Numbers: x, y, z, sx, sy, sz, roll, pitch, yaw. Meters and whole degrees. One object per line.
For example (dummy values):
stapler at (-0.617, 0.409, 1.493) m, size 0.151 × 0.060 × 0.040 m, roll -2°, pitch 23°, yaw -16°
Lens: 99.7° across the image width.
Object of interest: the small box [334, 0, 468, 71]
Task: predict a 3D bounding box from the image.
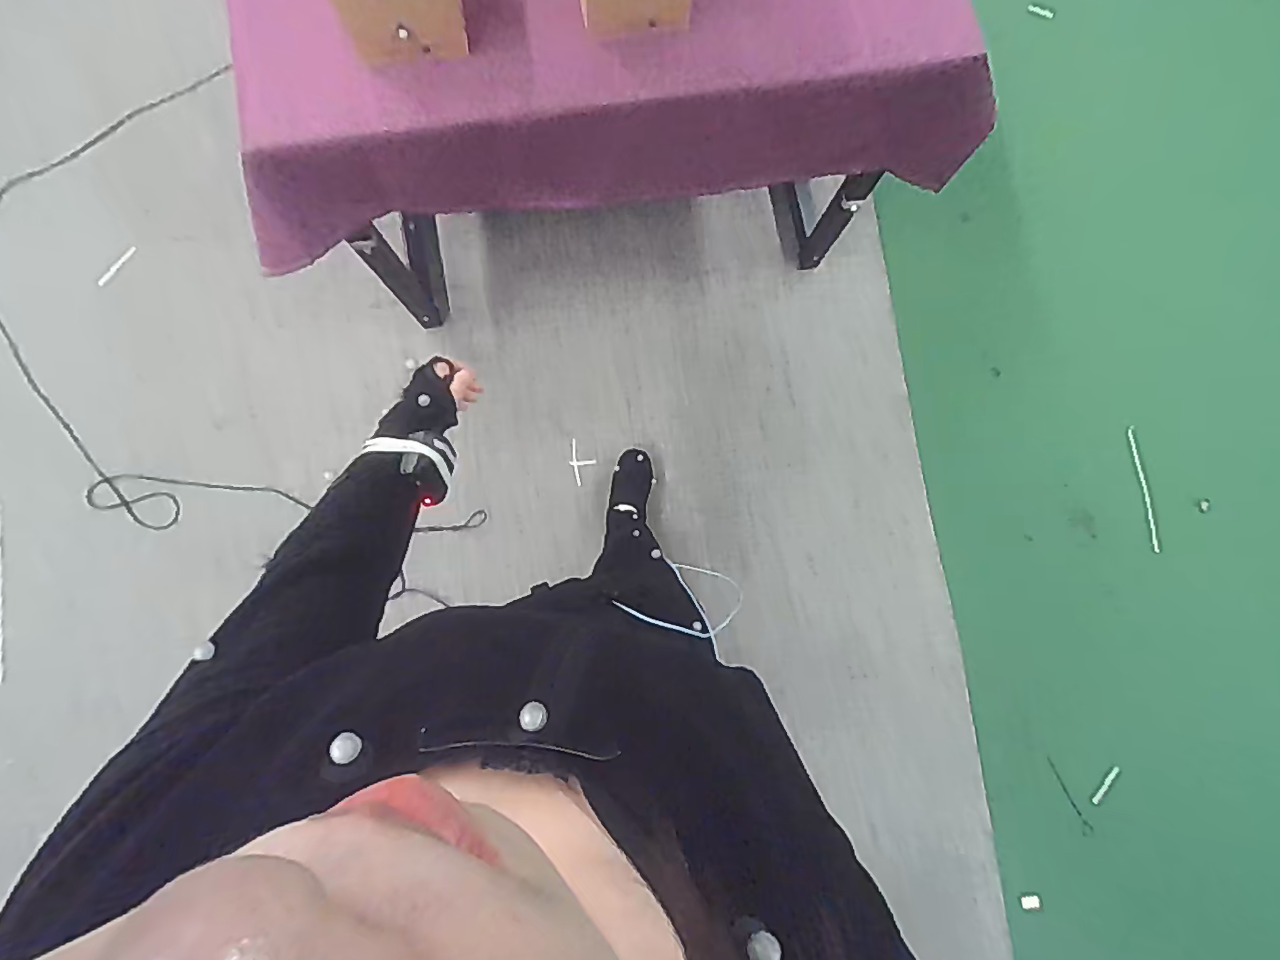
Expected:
small box at (-0.360, -0.746, 0.783) m, size 0.168 × 0.176 × 0.179 m, roll -9°, pitch 83°, yaw -3°
